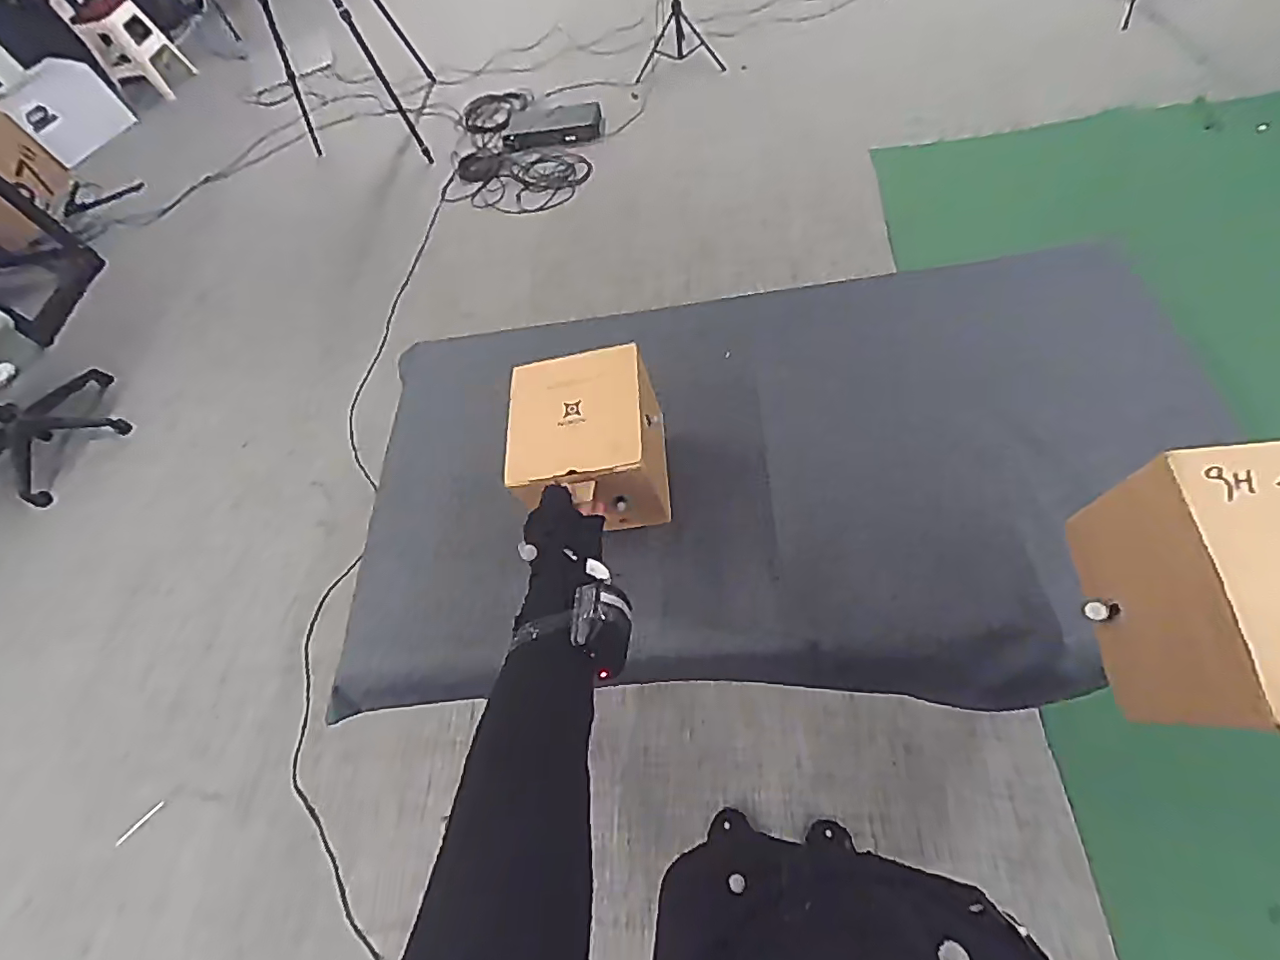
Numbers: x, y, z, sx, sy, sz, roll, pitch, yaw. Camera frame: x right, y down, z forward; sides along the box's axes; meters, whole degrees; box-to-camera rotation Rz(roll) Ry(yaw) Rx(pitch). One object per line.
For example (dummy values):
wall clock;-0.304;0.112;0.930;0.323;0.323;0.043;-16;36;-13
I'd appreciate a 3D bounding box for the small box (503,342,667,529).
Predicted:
small box;-0.063;-0.045;0.704;0.168;0.176;0.179;-9;61;10
